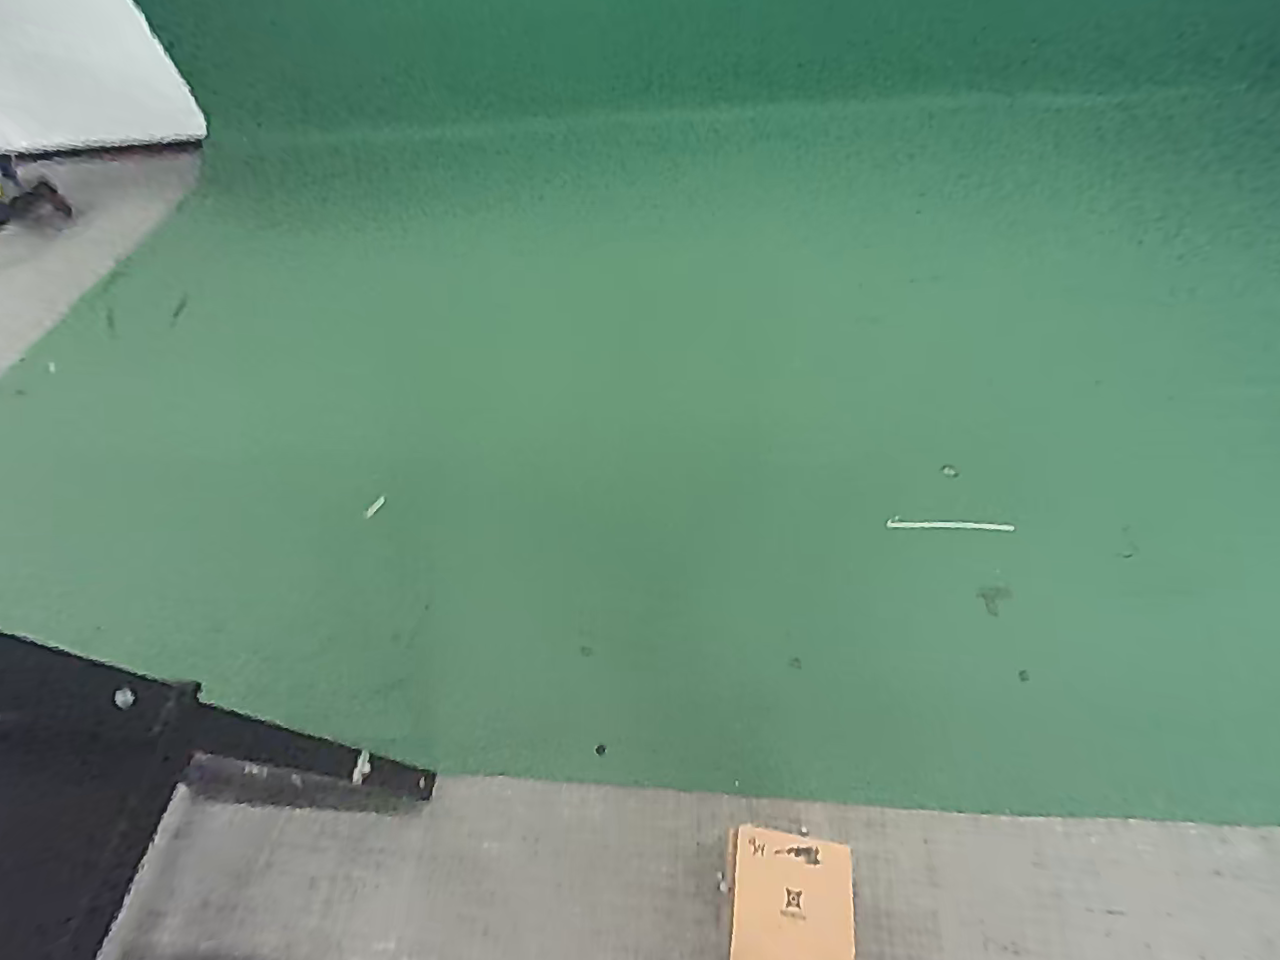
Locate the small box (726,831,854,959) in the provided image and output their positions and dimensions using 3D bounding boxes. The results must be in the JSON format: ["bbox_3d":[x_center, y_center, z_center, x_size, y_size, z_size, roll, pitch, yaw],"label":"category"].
[{"bbox_3d":[0.220,0.648,0.813,0.168,0.176,0.179,5,56,11],"label":"small box"}]
